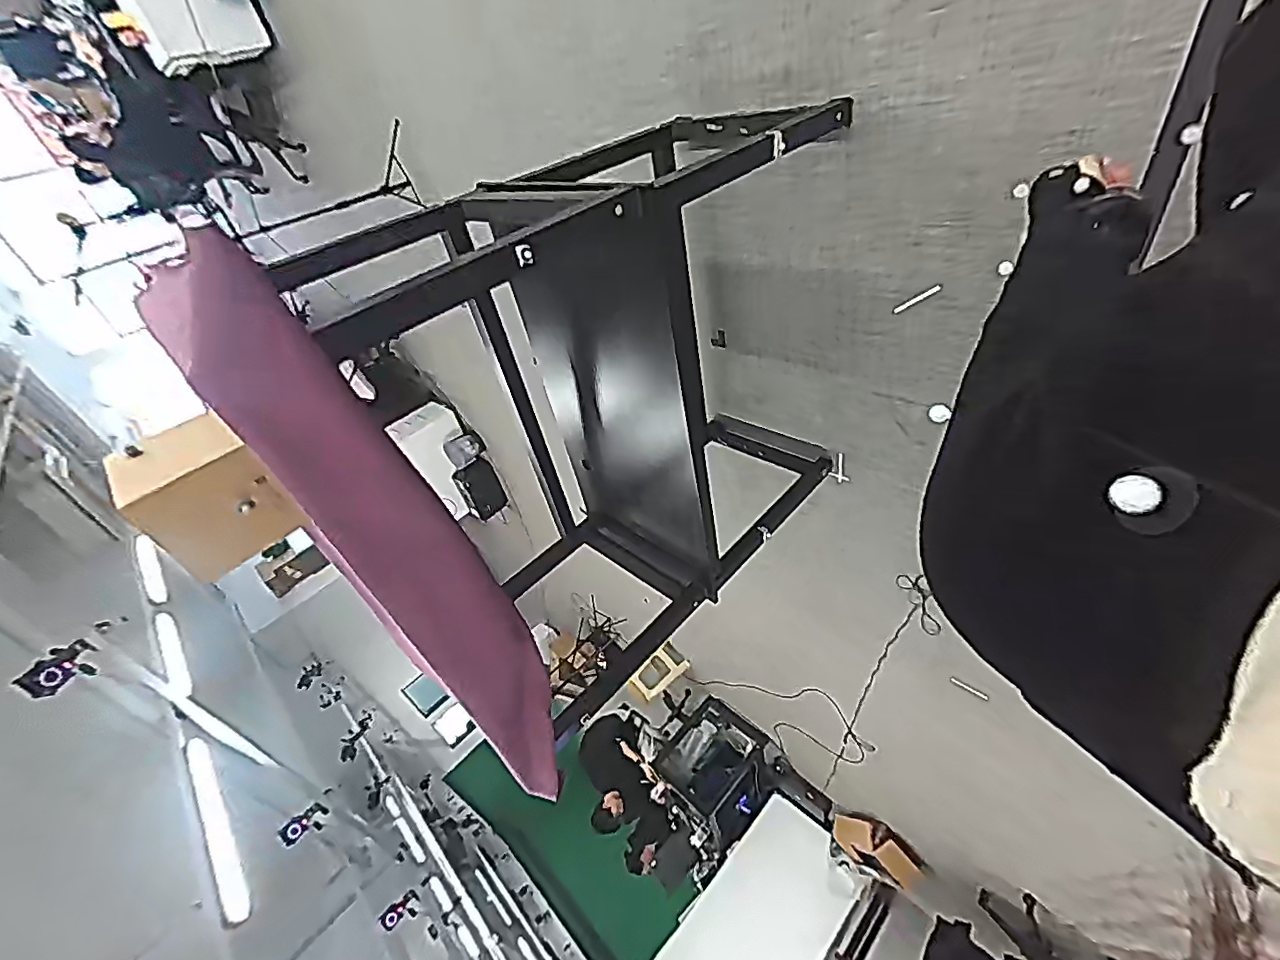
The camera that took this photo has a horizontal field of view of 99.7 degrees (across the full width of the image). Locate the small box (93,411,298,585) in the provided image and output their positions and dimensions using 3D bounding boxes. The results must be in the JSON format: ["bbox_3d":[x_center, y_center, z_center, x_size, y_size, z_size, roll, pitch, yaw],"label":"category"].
[{"bbox_3d":[-0.659,0.017,0.817,0.179,0.176,0.168,30,147,36],"label":"small box"}]
